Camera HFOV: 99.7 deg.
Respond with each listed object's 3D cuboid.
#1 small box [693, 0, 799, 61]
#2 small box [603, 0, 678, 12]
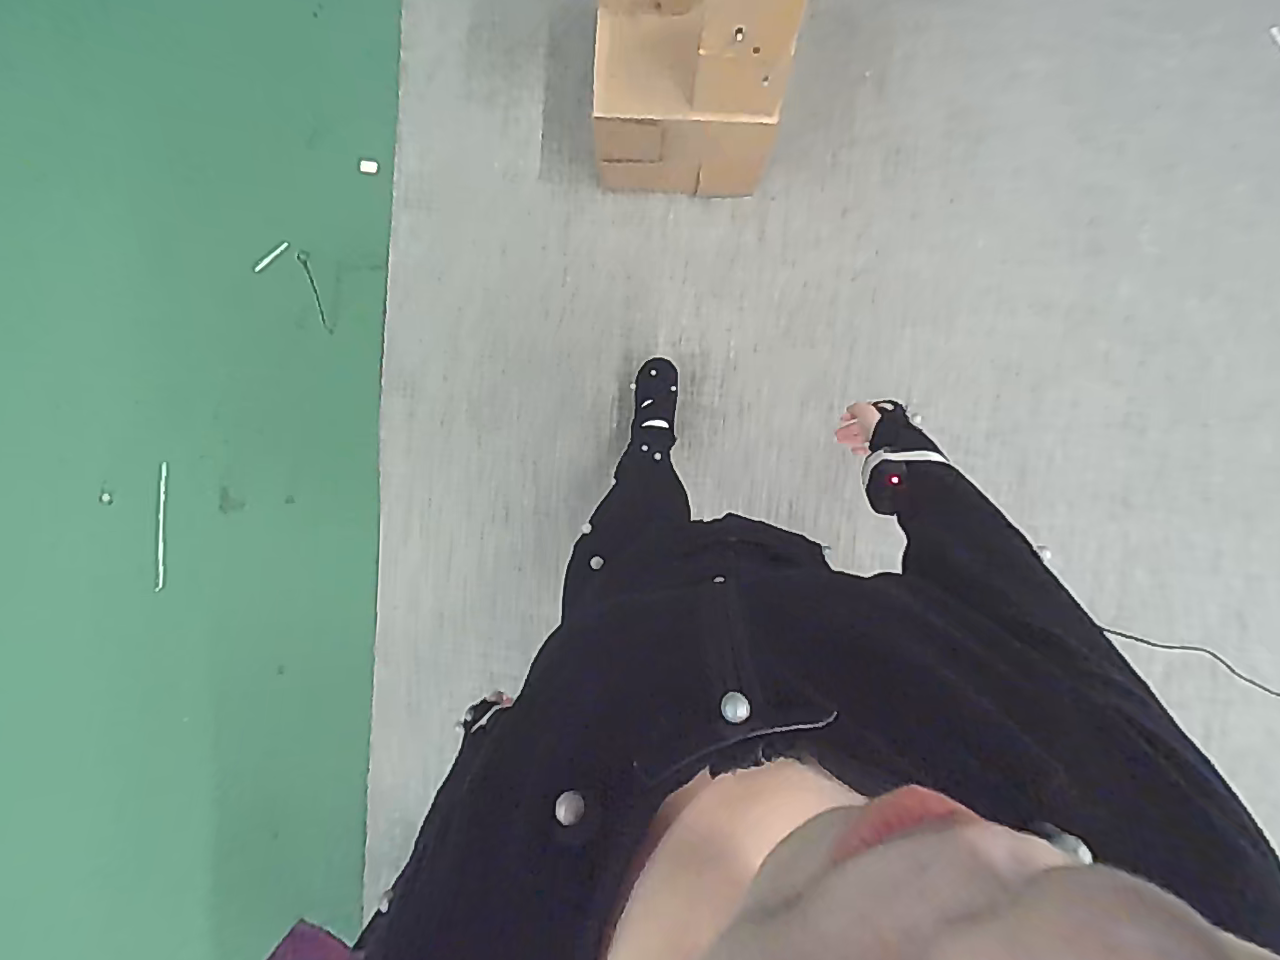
[{"bbox_3d":[0.183,-0.855,0.899,0.168,0.176,0.179,7,91,2],"label":"small box"},{"bbox_3d":[0.001,-1.088,1.071,0.168,0.176,0.179,4,89,4],"label":"small box"}]
